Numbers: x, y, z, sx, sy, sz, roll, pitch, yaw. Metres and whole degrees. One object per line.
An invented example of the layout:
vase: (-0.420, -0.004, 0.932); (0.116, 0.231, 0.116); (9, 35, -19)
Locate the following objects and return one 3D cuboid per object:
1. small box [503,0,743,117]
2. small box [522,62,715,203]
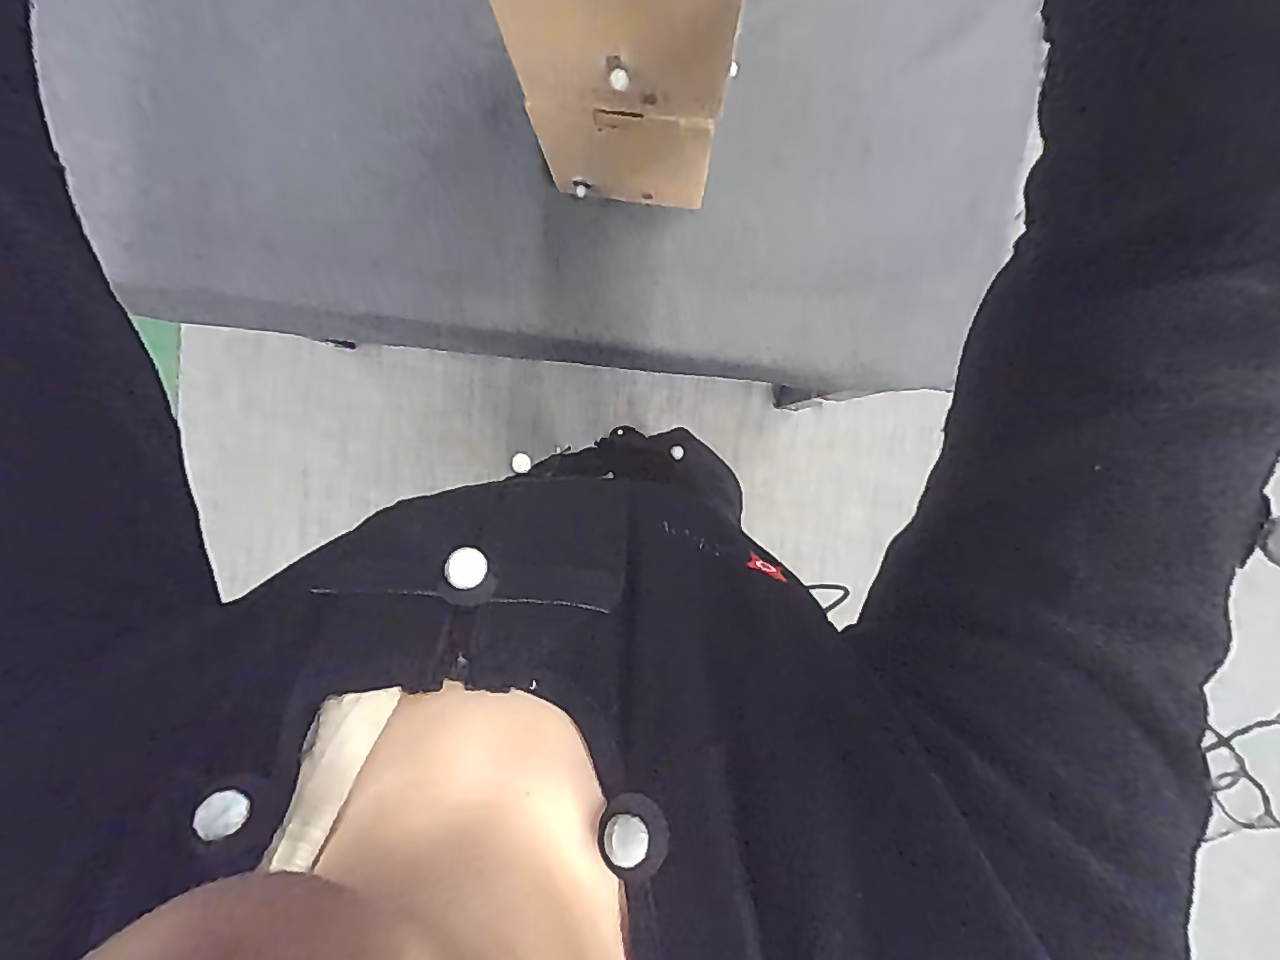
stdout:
small box: (-0.008, -0.390, 0.364); (0.168, 0.176, 0.179); (6, 94, 2)
small box: (-0.005, -0.399, 0.529); (0.168, 0.176, 0.179); (8, 94, 1)
